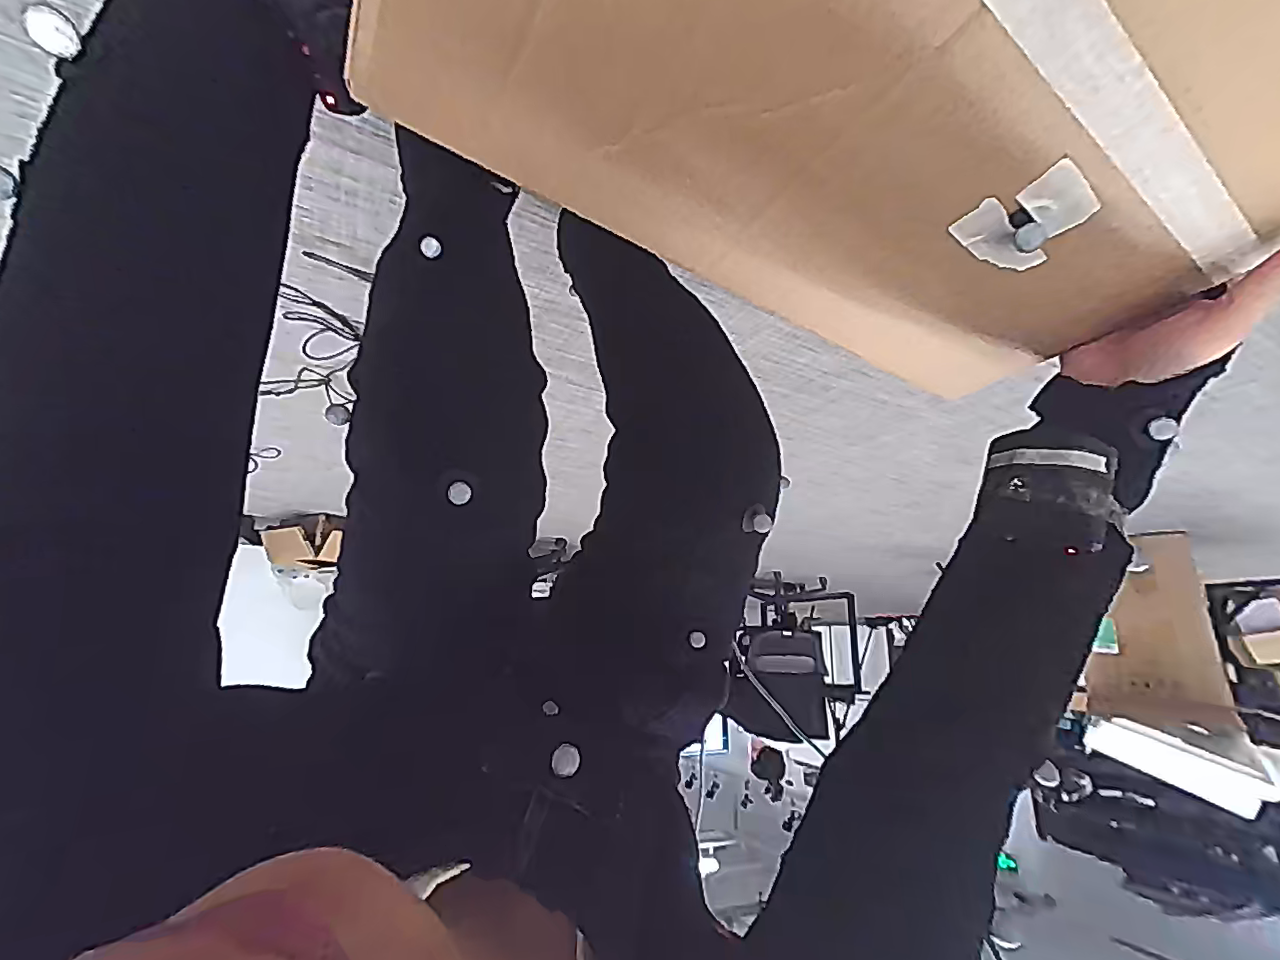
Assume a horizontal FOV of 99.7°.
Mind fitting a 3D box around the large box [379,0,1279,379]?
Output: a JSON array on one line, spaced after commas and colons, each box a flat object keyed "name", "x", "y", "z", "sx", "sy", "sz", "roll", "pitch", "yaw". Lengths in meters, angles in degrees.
[{"name": "large box", "x": 0.139, "y": -0.299, "z": 0.245, "sx": 0.408, "sy": 0.320, "sz": 0.320, "roll": 12, "pitch": 154, "yaw": -31}]
